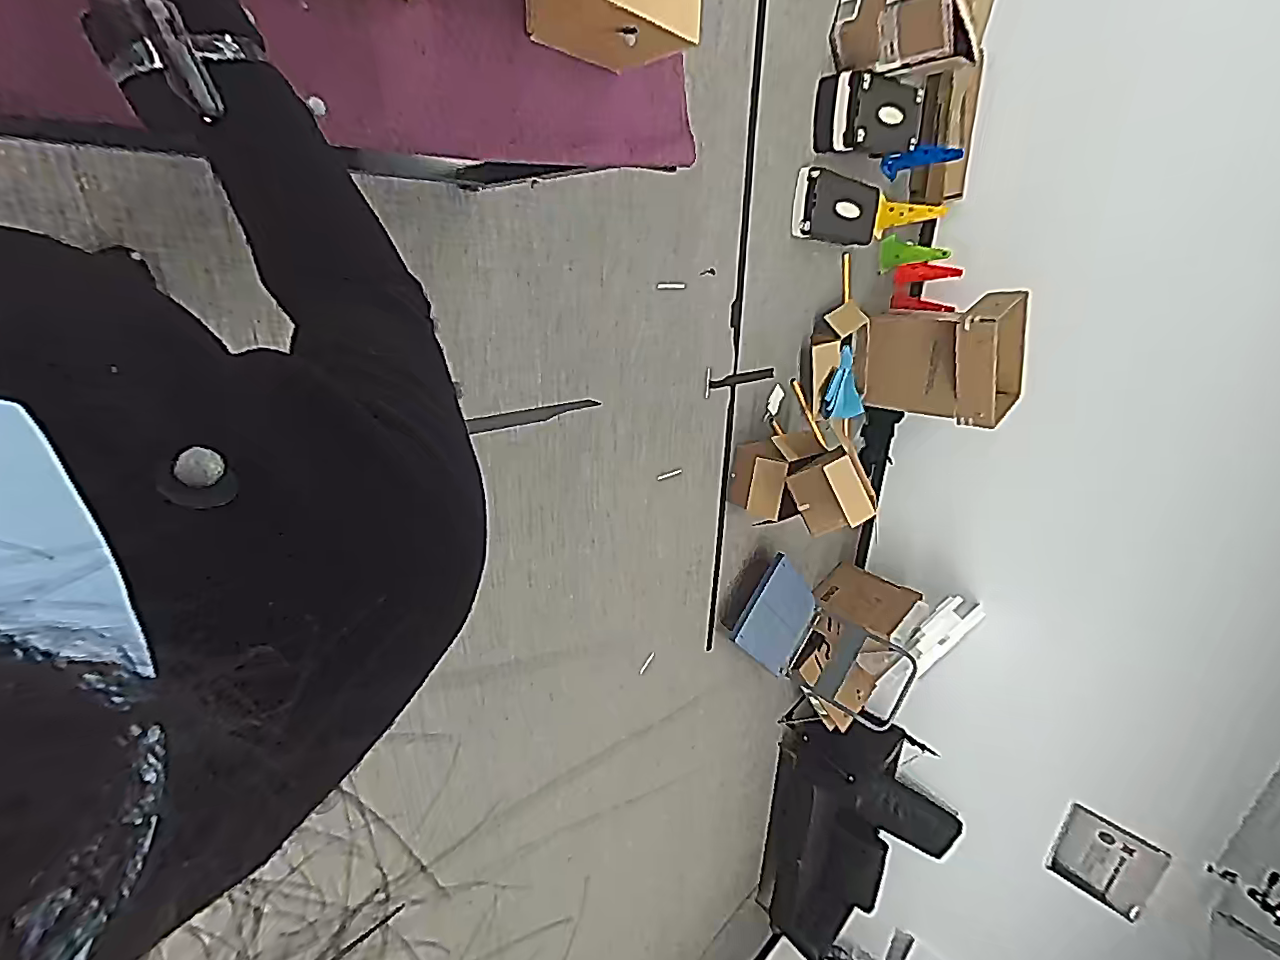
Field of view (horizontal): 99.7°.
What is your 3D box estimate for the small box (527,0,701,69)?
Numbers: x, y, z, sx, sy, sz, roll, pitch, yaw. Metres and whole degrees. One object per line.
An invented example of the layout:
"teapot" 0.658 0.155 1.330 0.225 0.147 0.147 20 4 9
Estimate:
"small box" -0.033 -0.687 0.728 0.179 0.176 0.168 -15 116 -41
